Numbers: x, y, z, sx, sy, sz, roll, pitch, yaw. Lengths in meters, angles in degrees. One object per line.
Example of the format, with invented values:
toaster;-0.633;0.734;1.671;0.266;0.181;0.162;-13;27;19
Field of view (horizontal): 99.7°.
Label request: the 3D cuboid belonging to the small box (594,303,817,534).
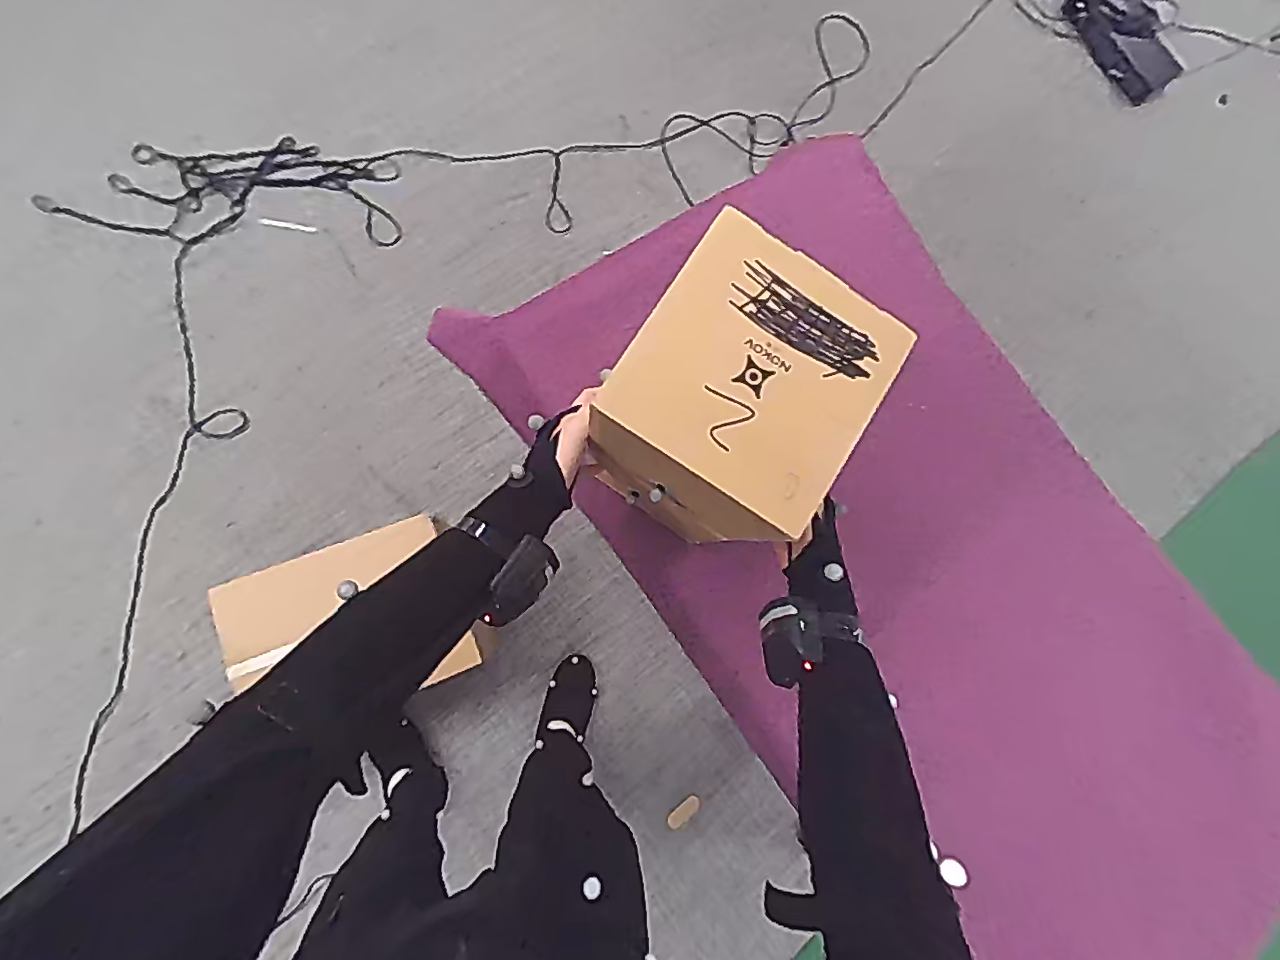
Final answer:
small box;0.057;-0.055;0.608;0.168;0.176;0.179;35;81;-2
